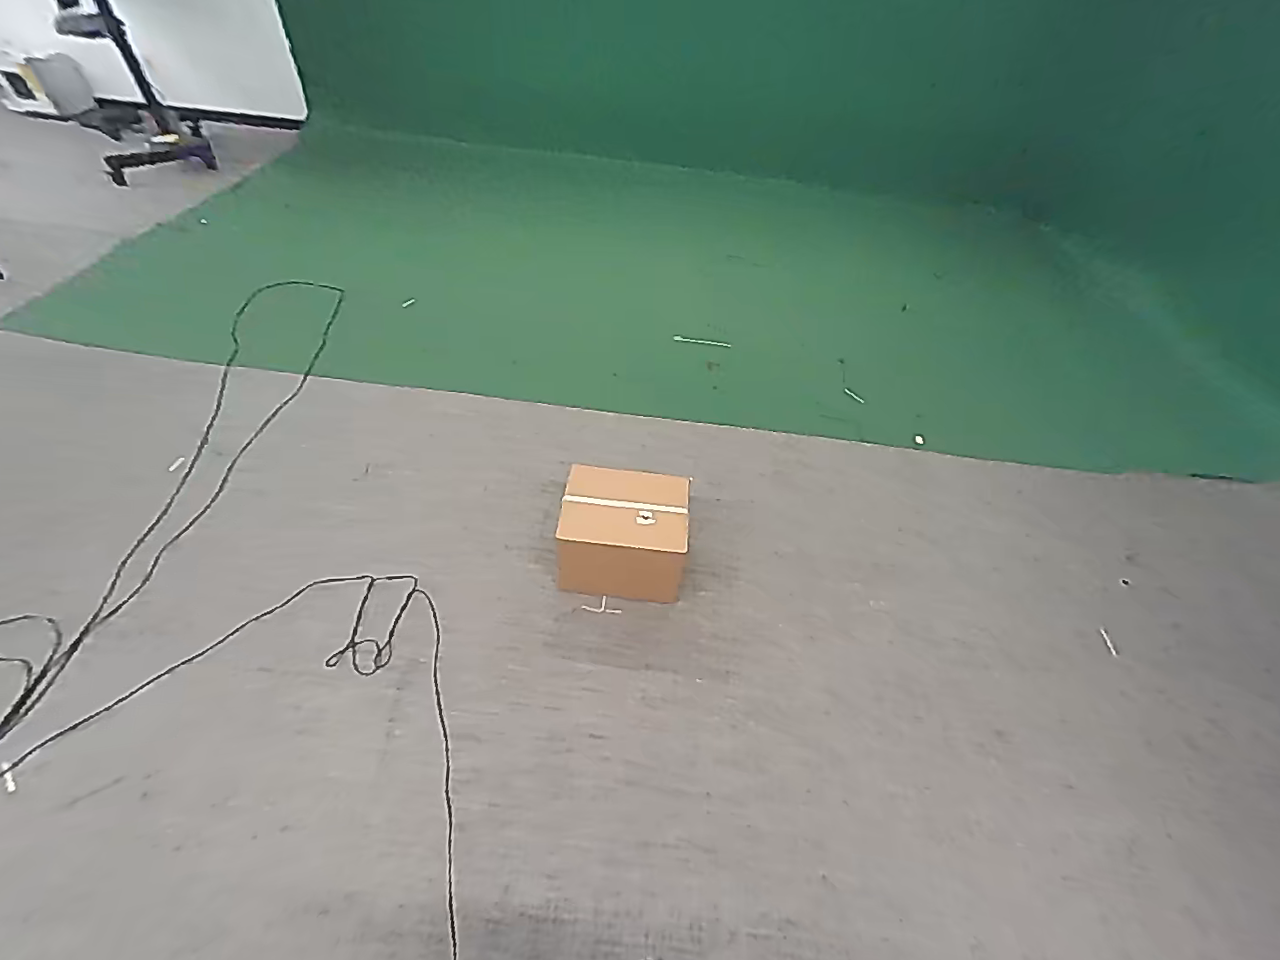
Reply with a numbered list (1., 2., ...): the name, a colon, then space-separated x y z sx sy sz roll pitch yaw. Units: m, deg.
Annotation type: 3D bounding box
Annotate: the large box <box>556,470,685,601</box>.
1. large box: -0.066 0.194 1.852 0.408 0.320 0.320 6 48 -1
